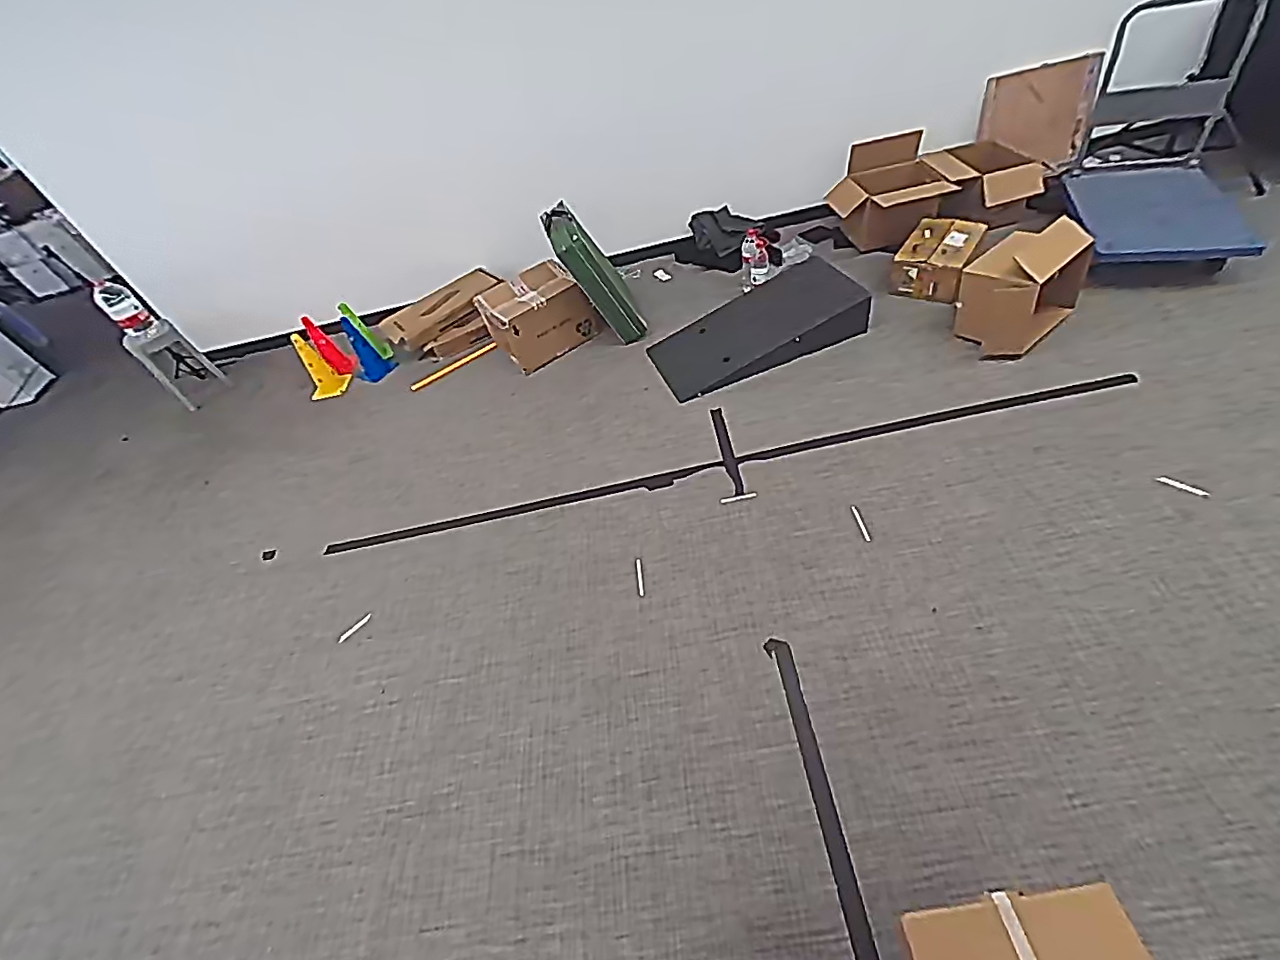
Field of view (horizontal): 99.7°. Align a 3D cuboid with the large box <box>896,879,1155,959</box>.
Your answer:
[{"bbox_3d":[0.633,0.884,0.818,0.320,0.320,0.408,-17,48,9],"label":"large box"}]
